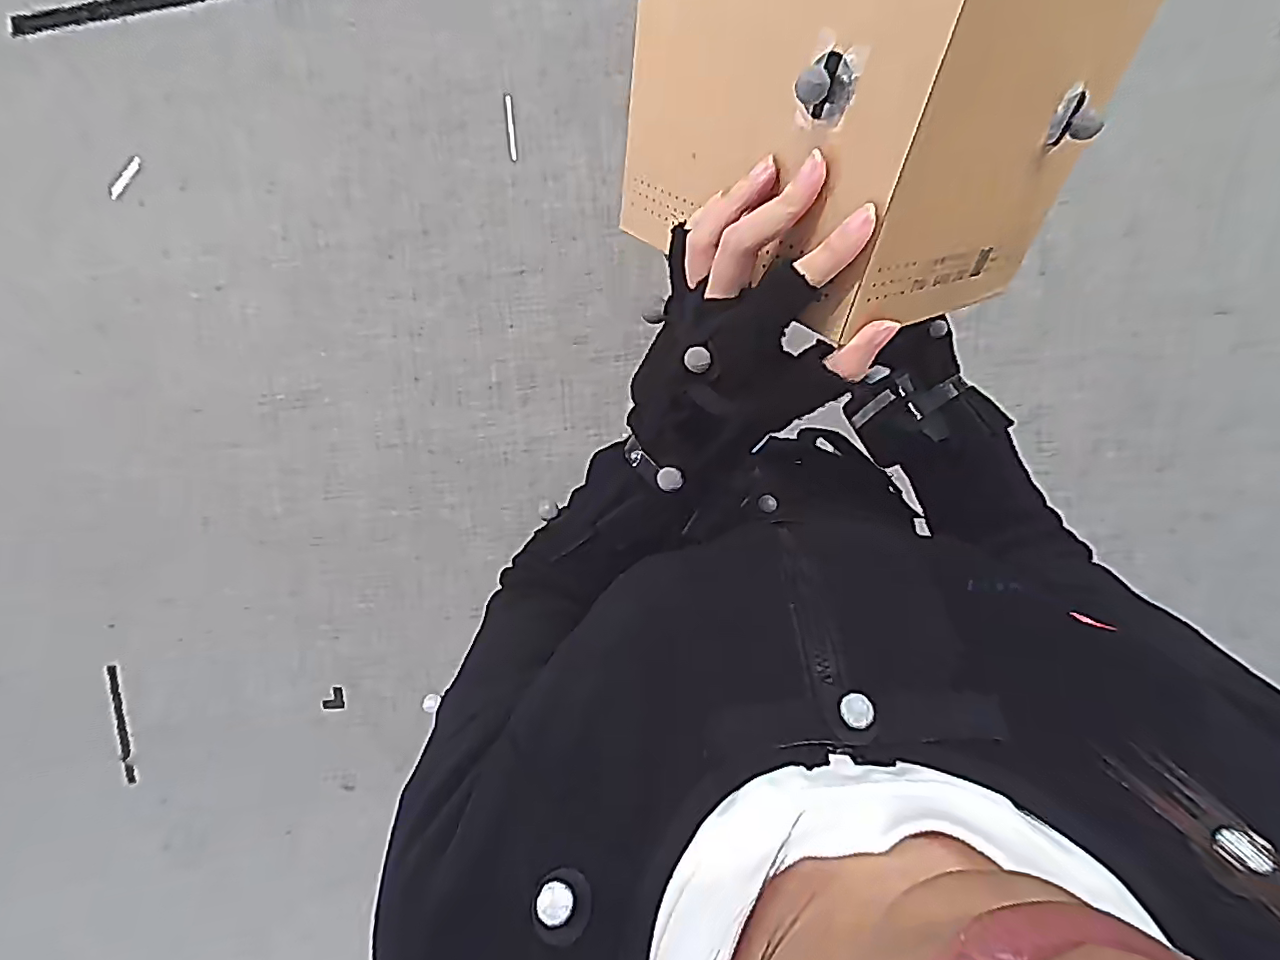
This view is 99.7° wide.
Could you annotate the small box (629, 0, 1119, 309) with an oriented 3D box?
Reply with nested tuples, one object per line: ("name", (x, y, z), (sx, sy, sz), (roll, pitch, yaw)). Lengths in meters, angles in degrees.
("small box", (0.111, -0.204, 0.300), (0.168, 0.179, 0.176), (-21, 137, -31))
